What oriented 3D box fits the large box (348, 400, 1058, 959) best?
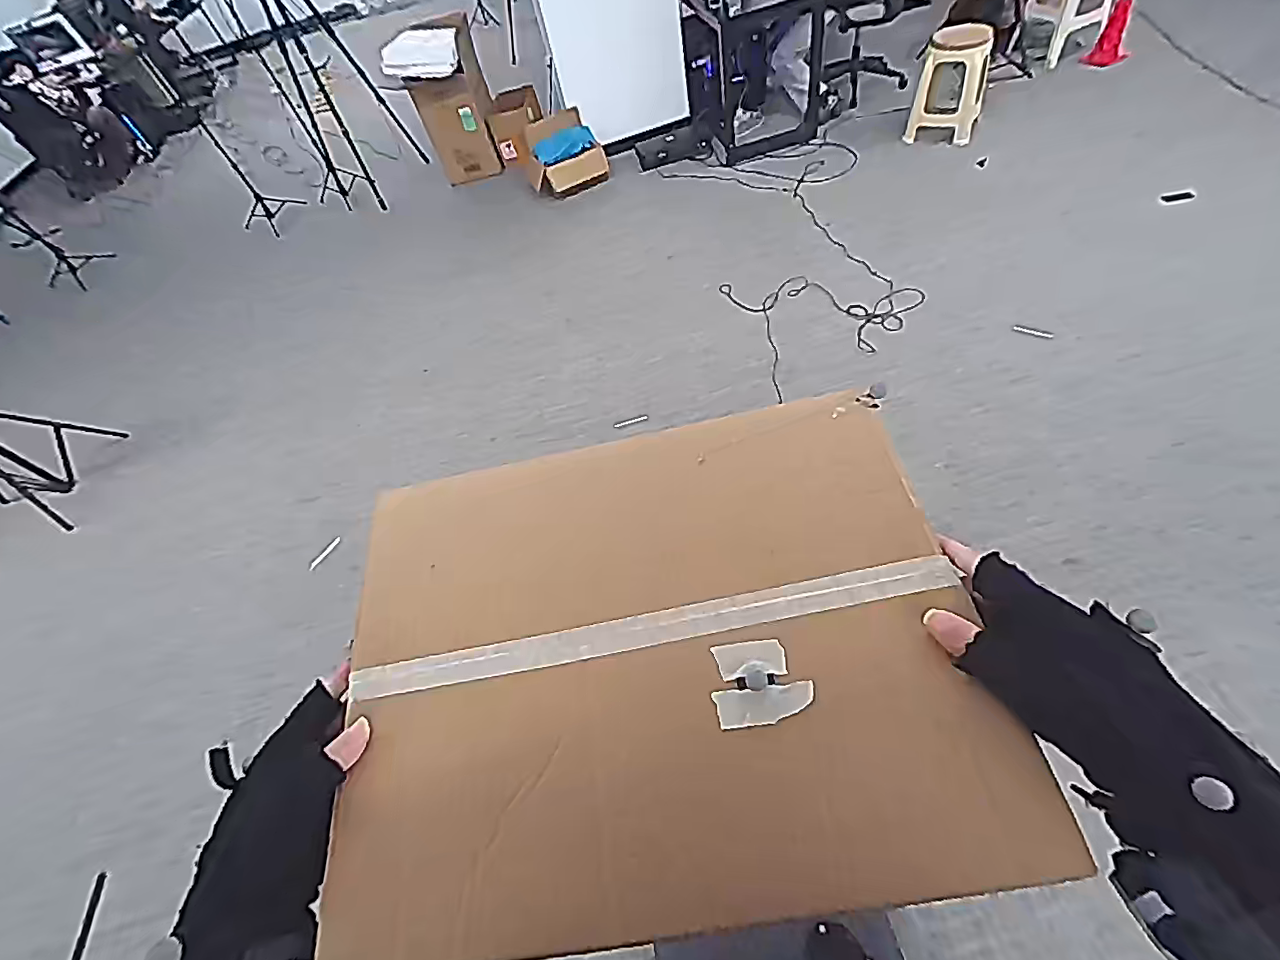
[{"bbox_3d":[0.028,0.179,0.496,0.408,0.320,0.320,-12,59,3],"label":"large box"}]
